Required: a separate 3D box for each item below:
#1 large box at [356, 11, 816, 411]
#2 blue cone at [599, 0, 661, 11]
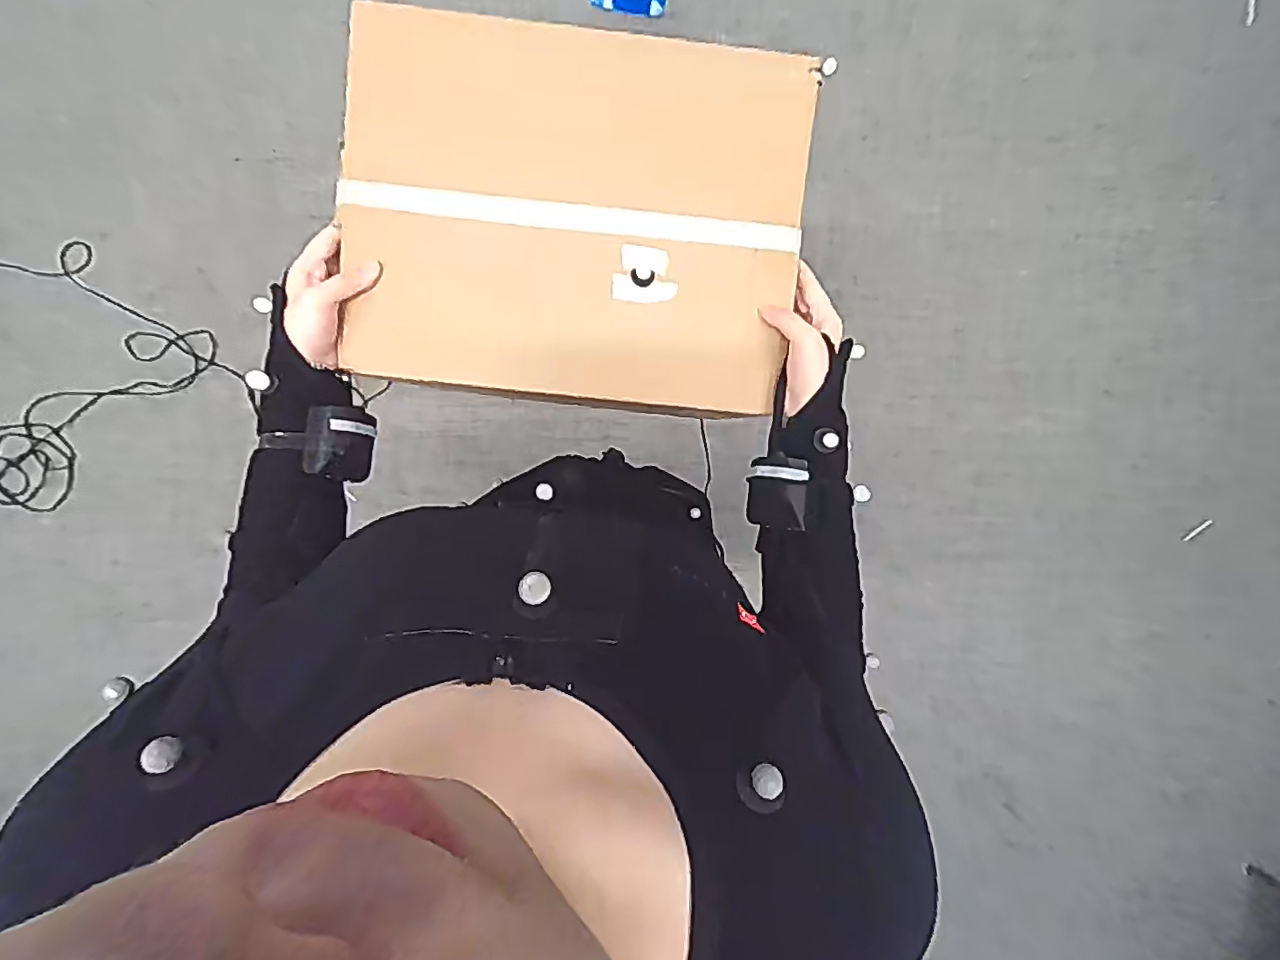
[{"bbox_3d":[-0.058,-0.253,0.636,0.408,0.320,0.320,5,96,-3],"label":"large box"},{"bbox_3d":[-0.022,-1.349,1.277,0.193,0.380,0.192,10,92,-1],"label":"blue cone"}]
